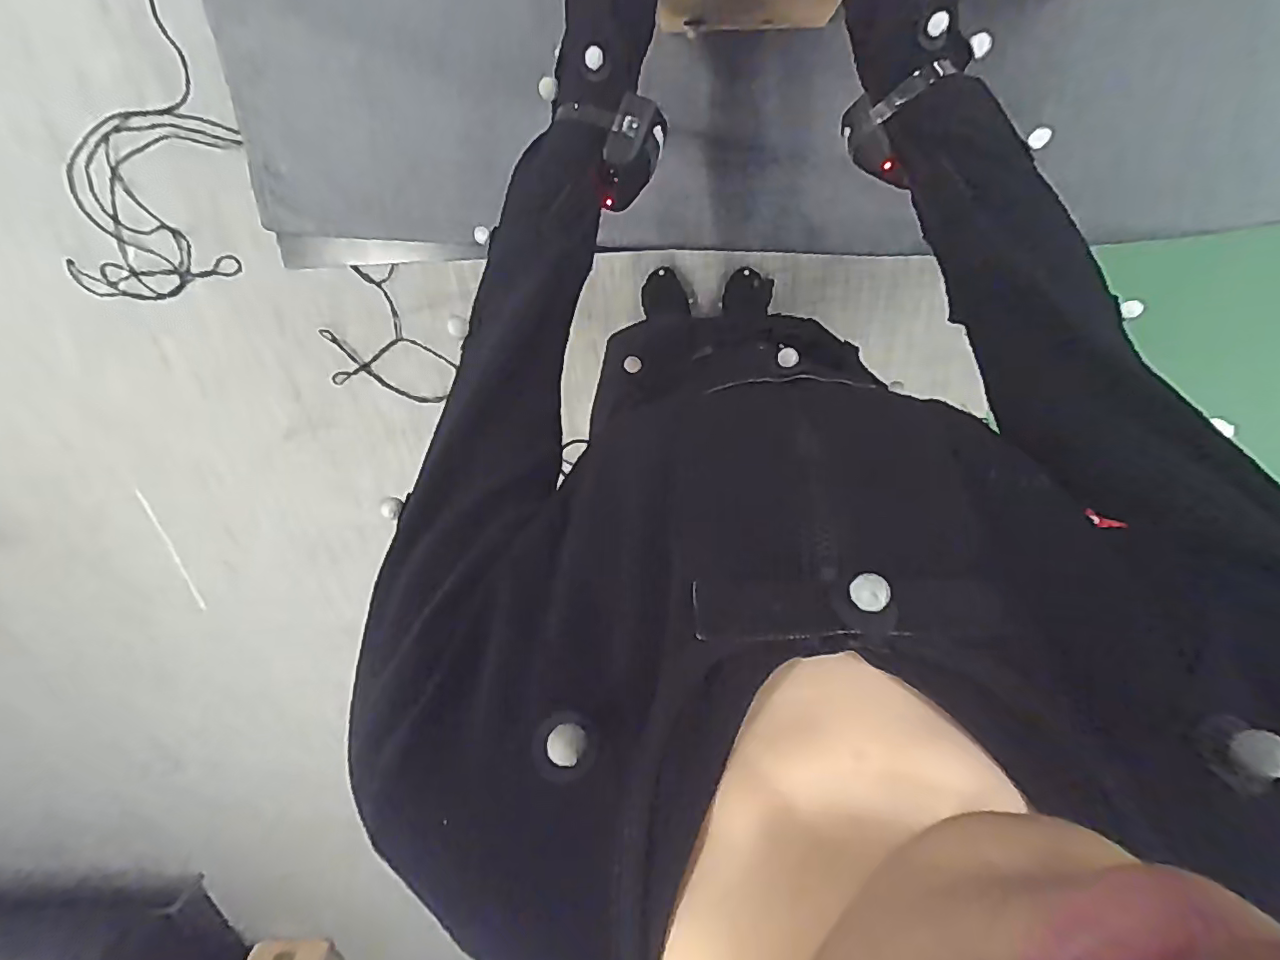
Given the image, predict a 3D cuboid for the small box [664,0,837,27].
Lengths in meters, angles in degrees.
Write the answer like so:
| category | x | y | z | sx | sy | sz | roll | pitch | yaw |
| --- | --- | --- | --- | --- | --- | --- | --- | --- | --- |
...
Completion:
| category | x | y | z | sx | sy | sz | roll | pitch | yaw |
| --- | --- | --- | --- | --- | --- | --- | --- | --- | --- |
| small box | 0.099 | -0.499 | 0.438 | 0.168 | 0.176 | 0.179 | 1 | 113 | 5 |
